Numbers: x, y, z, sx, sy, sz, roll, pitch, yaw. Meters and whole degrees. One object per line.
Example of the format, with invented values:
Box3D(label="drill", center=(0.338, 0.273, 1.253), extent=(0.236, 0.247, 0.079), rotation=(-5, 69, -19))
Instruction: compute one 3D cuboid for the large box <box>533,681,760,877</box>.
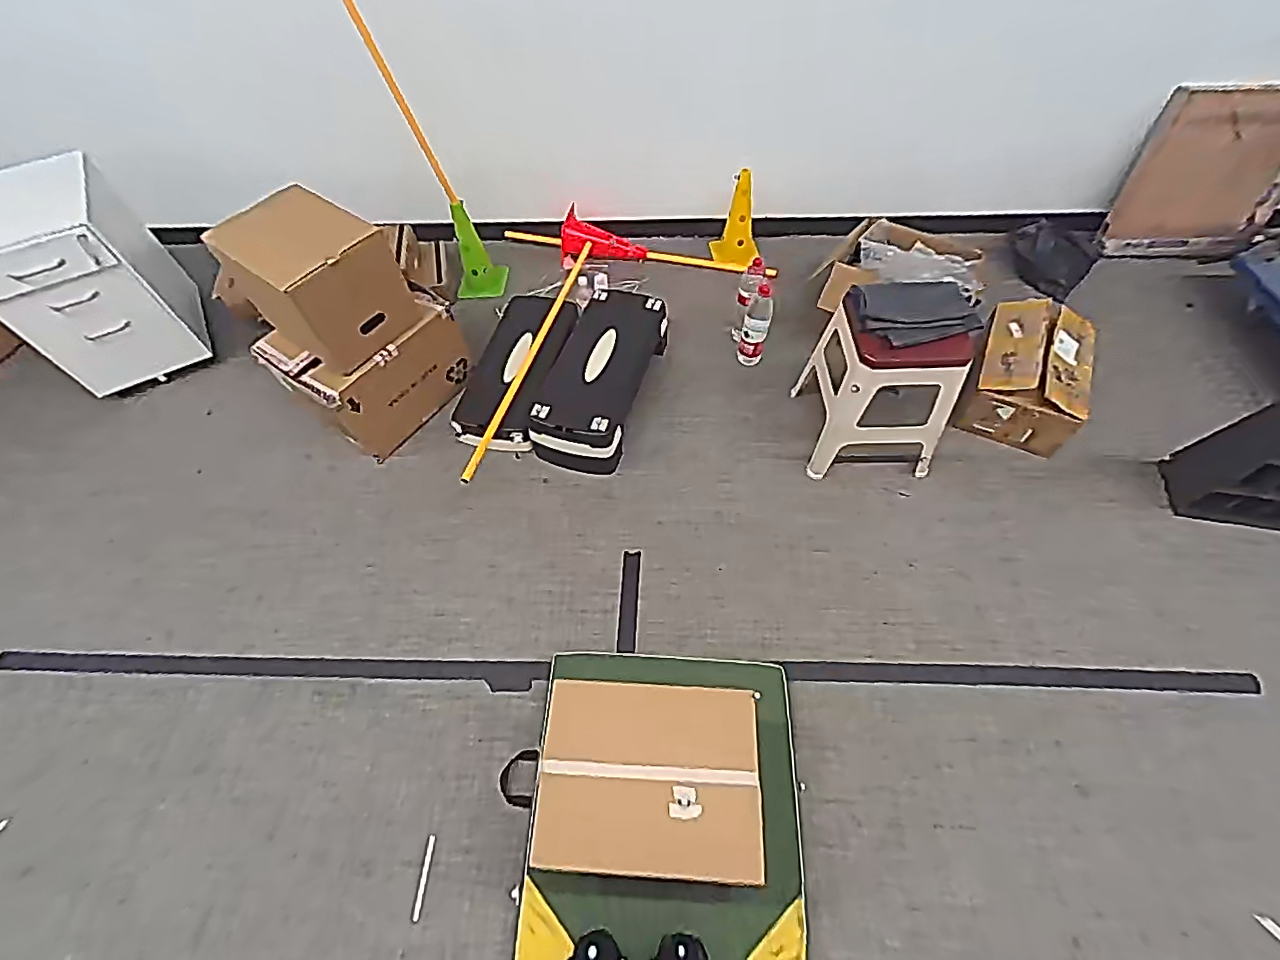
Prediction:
Box3D(label="large box", center=(0.016, 0.627, 1.136), extent=(0.408, 0.320, 0.320), rotation=(2, 57, 2))
